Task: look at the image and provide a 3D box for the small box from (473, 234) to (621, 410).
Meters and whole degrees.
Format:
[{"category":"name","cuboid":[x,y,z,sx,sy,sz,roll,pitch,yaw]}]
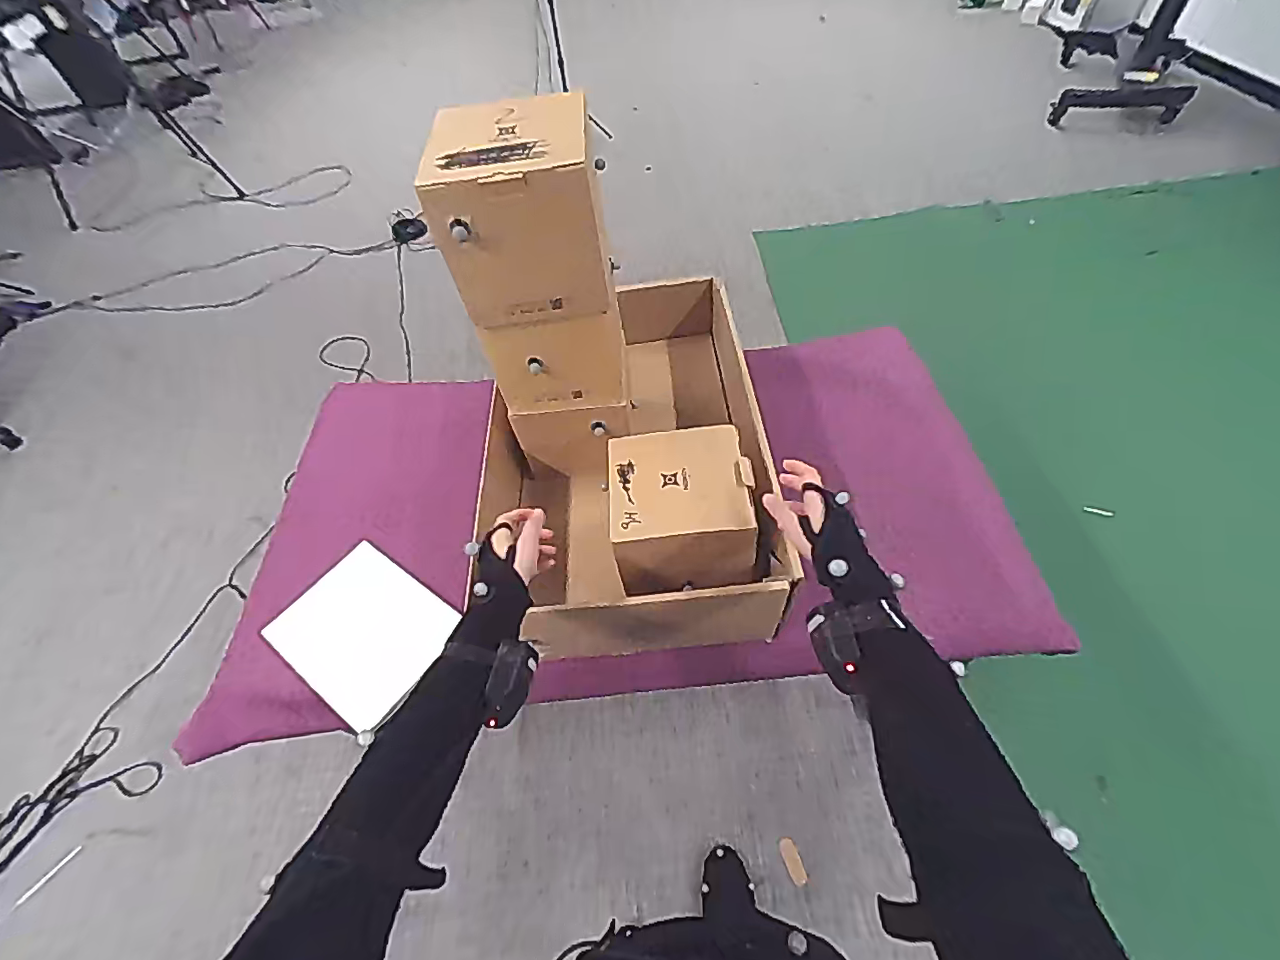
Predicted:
[{"category":"small box","cuboid":[-0.117,-0.213,0.761,0.168,0.176,0.179,-5,54,3]}]
